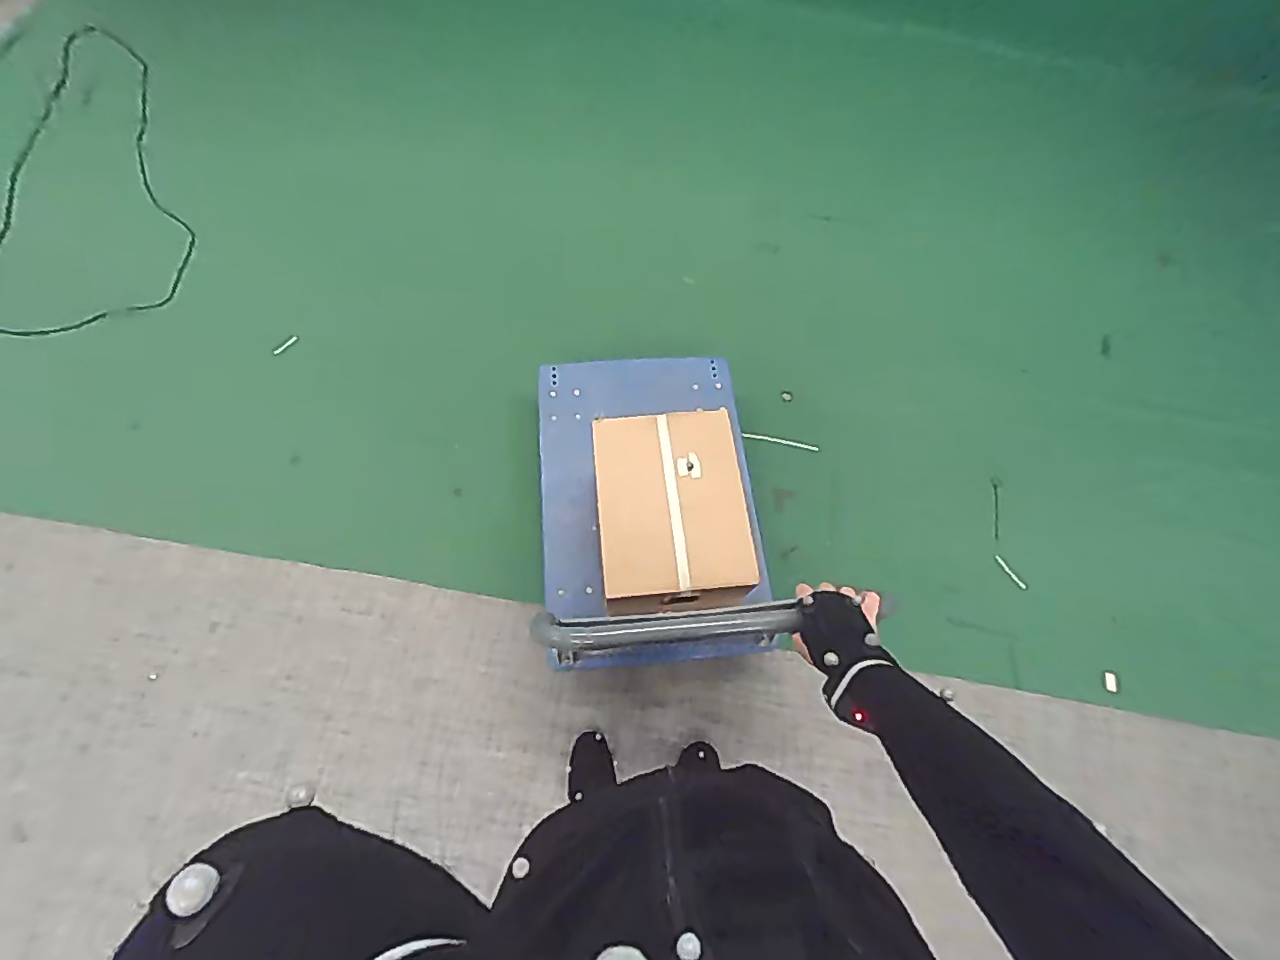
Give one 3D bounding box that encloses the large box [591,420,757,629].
[{"bbox_3d":[0.060,0.116,1.293,0.320,0.320,0.408,-4,66,-5],"label":"large box"}]
